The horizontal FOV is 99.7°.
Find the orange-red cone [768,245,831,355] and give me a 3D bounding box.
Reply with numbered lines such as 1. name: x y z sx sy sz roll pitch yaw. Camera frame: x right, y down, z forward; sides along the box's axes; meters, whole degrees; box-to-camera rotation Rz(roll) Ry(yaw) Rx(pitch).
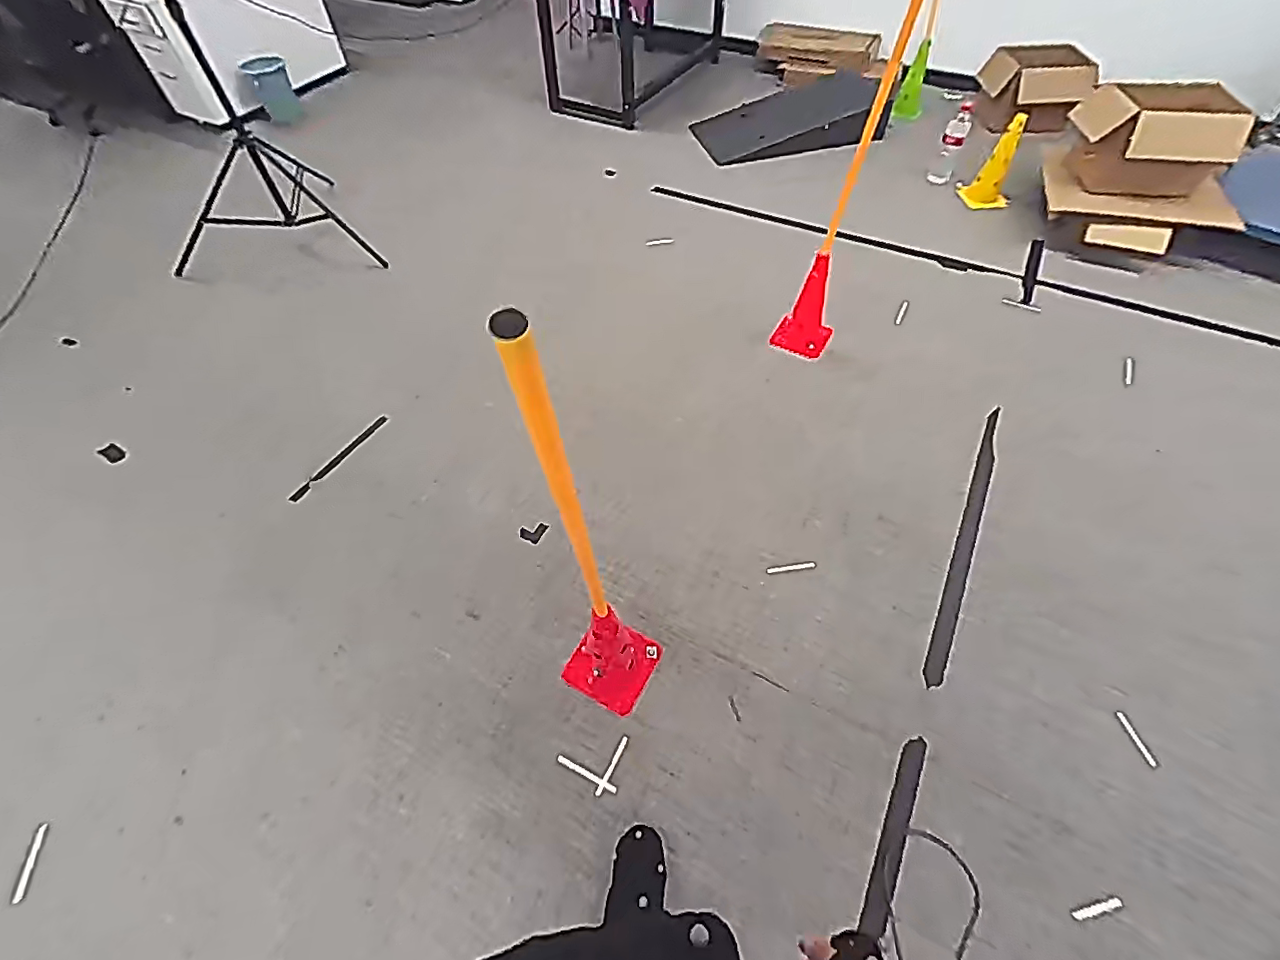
1. orange-red cone: 0.607 -0.661 1.922 0.198 0.360 0.199 27 59 18
